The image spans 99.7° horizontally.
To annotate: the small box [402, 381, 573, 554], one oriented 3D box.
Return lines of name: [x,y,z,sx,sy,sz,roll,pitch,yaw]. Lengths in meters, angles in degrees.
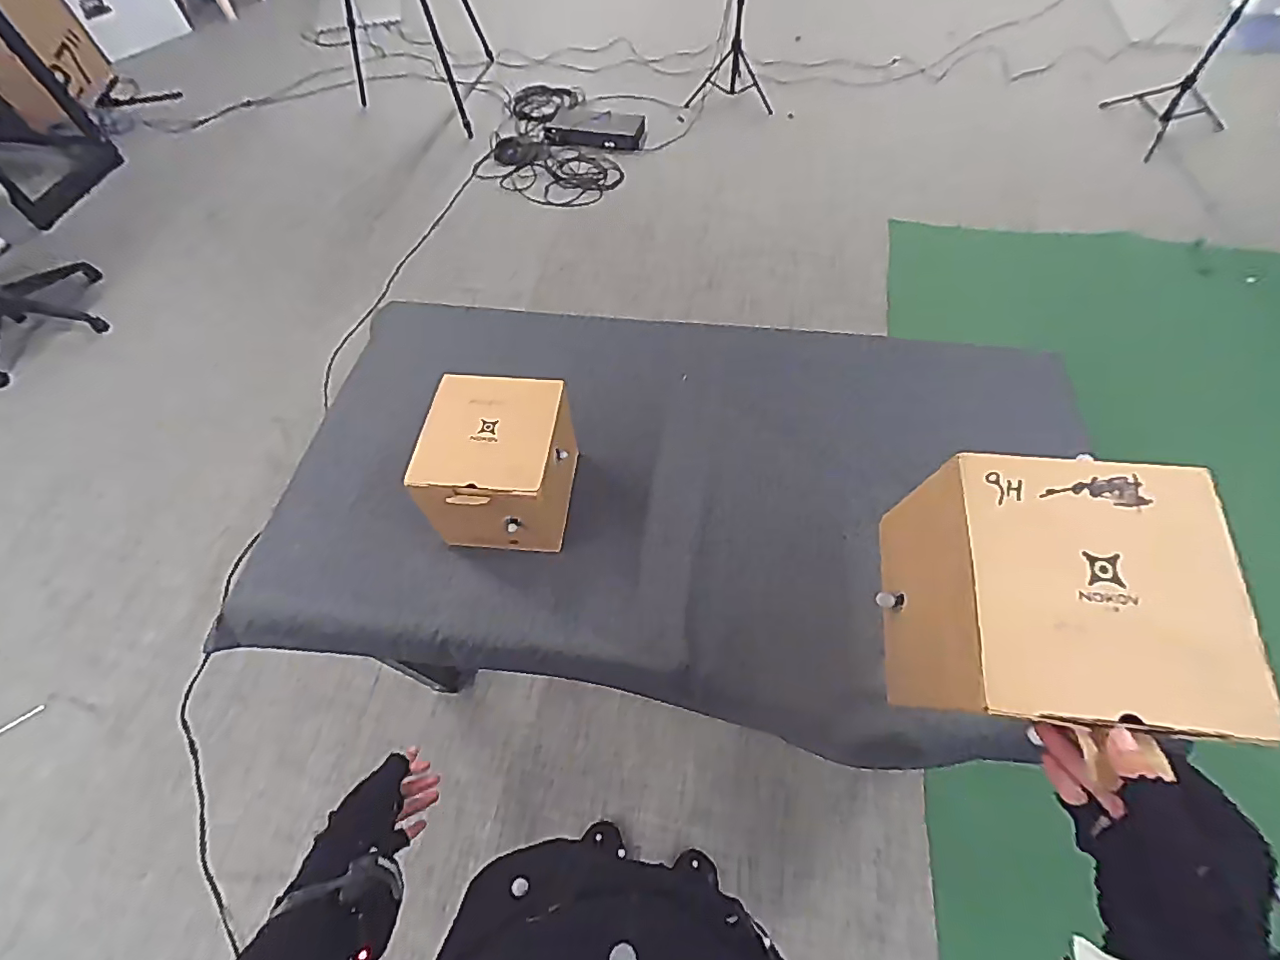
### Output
small box: [-0.190,-0.012,0.737,0.168,0.176,0.179,4,57,3]

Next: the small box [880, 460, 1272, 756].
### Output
small box: [0.301,0.100,0.425,0.168,0.176,0.179,5,70,6]
